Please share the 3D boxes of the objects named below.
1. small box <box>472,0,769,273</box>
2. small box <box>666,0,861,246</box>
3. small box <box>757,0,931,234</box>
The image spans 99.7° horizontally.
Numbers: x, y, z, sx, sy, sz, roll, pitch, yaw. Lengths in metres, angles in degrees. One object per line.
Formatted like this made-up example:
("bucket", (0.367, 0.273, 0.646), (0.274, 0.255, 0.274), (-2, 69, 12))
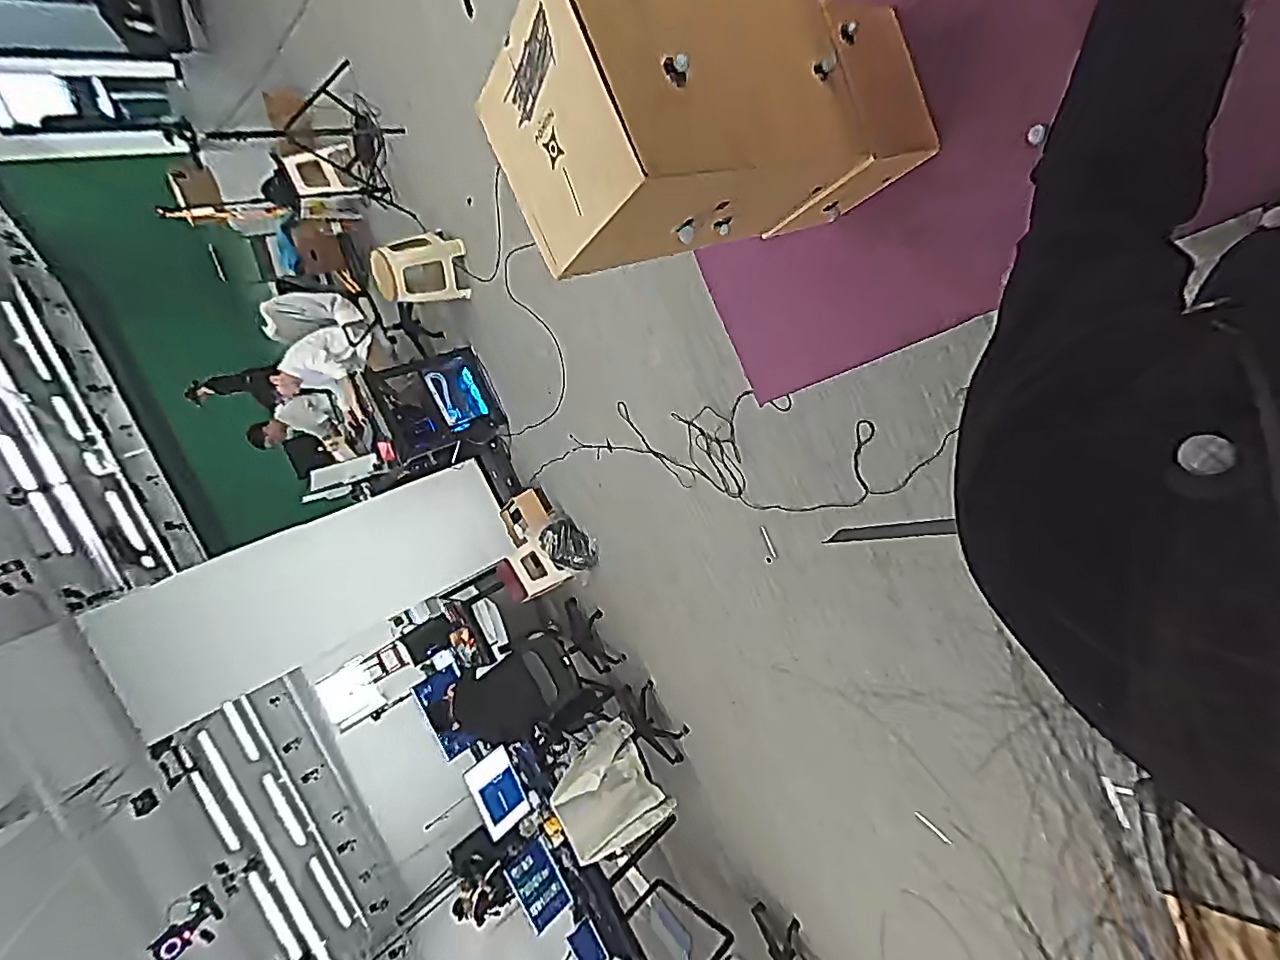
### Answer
("small box", (-0.018, -0.315, 0.487), (0.168, 0.176, 0.179), (-15, 101, 56))
("small box", (0.101, -0.381, 0.581), (0.168, 0.176, 0.179), (-16, 99, 56))
("small box", (0.225, -0.439, 0.671), (0.168, 0.176, 0.179), (-15, 100, 56))
